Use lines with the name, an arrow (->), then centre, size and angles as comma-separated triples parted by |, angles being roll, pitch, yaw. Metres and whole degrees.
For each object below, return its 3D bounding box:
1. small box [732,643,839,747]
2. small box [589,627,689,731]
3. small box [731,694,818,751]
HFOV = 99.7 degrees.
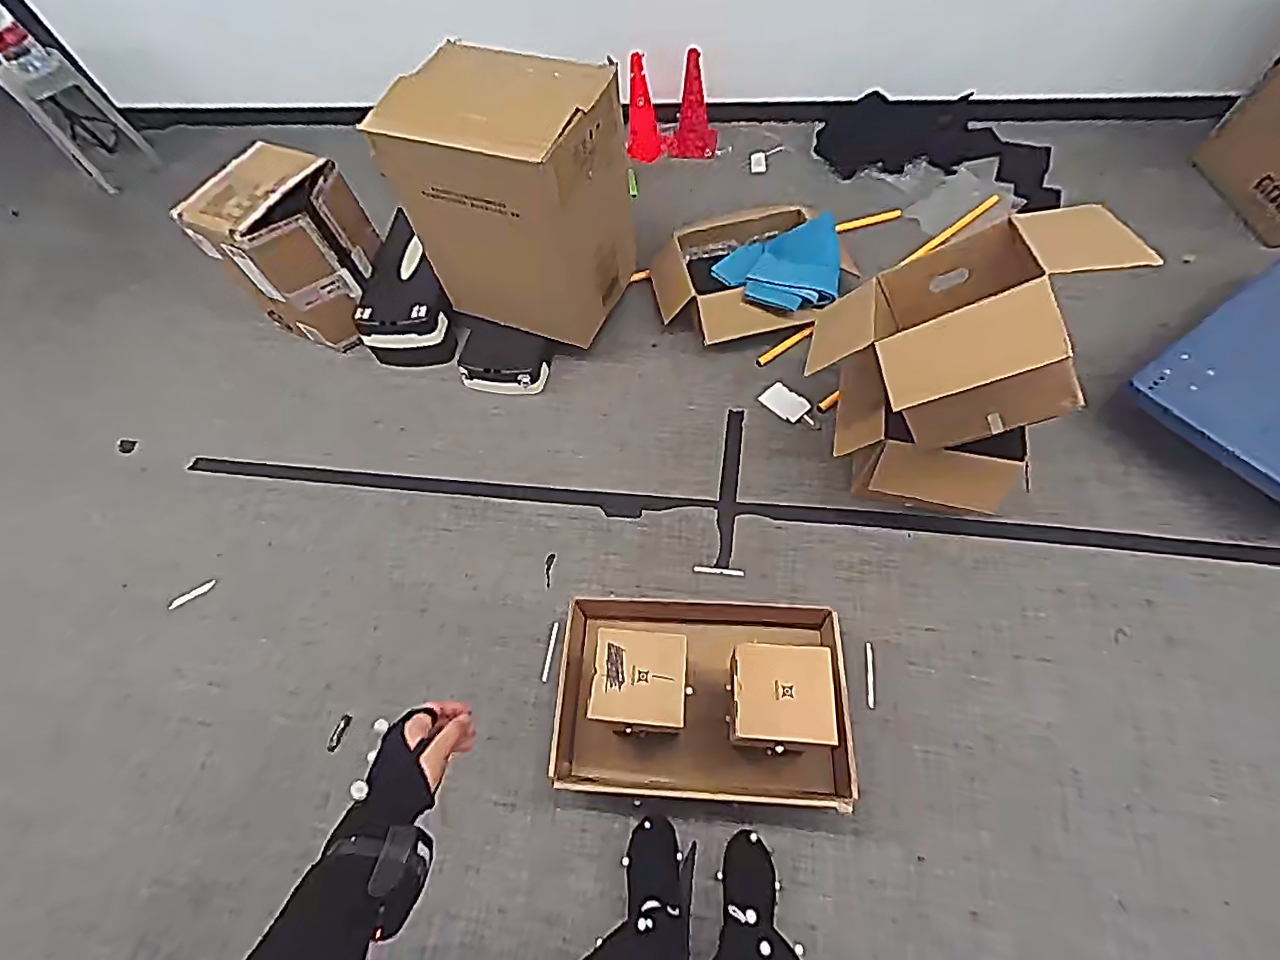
small box -> 0.271, 0.418, 1.045 | 0.179, 0.176, 0.168 | 1, 62, 7
small box -> 0.005, 0.401, 1.077 | 0.179, 0.176, 0.168 | 4, 63, 5
small box -> 0.289, 0.493, 1.188 | 0.168, 0.176, 0.179 | 2, 61, 6
